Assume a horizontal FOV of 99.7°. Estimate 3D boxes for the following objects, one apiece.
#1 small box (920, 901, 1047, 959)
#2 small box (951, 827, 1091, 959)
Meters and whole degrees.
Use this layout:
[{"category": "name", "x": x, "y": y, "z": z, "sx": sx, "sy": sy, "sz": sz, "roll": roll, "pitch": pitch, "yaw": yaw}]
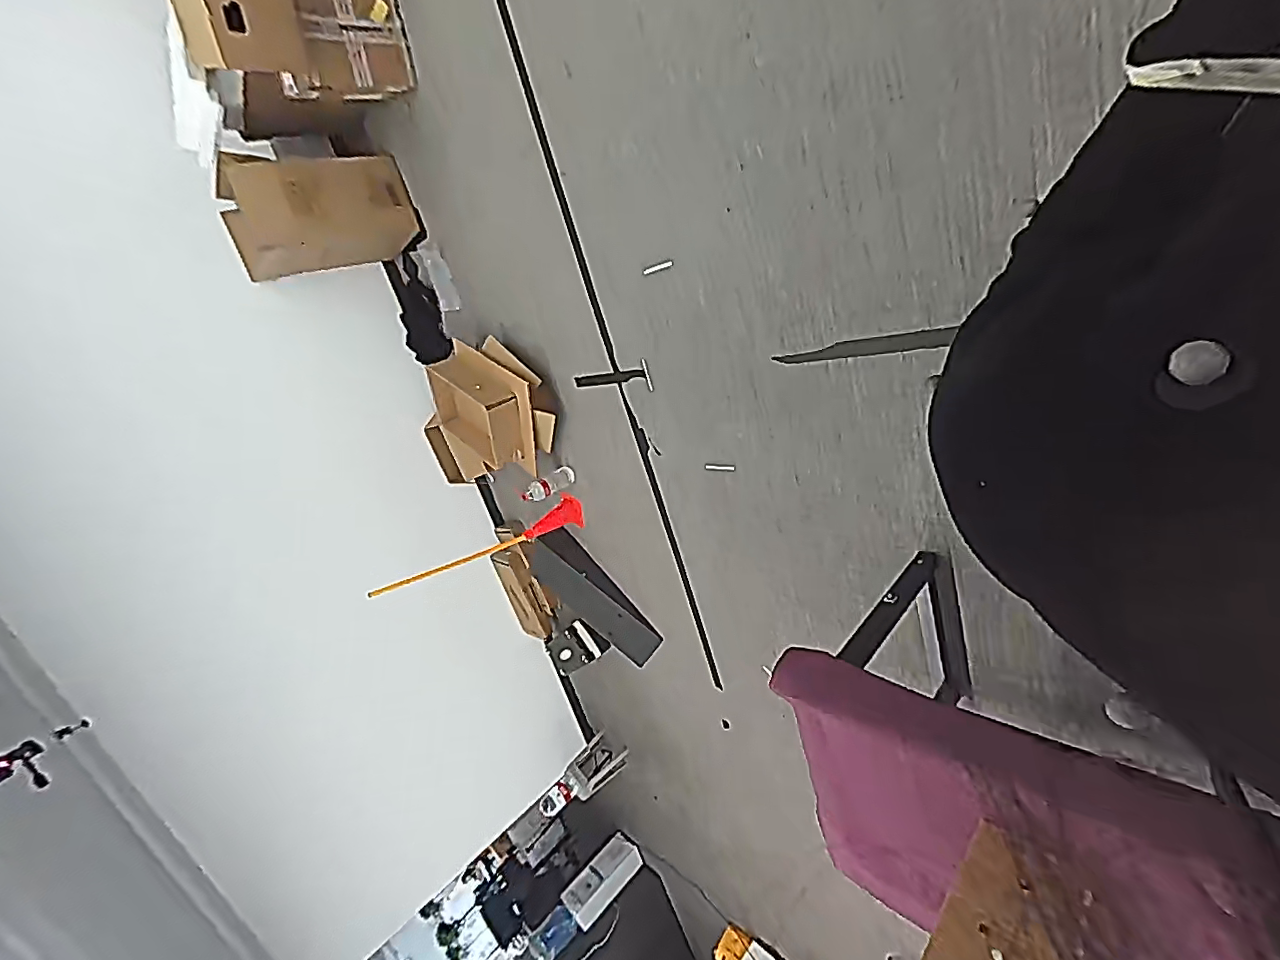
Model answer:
[{"category": "small box", "x": 0.548, "y": 0.836, "z": 0.854, "sx": 0.168, "sy": 0.176, "sz": 0.179, "roll": 8, "pitch": 121, "yaw": 47}, {"category": "small box", "x": 0.664, "y": 0.763, "z": 0.944, "sx": 0.168, "sy": 0.176, "sz": 0.179, "roll": 9, "pitch": 122, "yaw": 48}]
